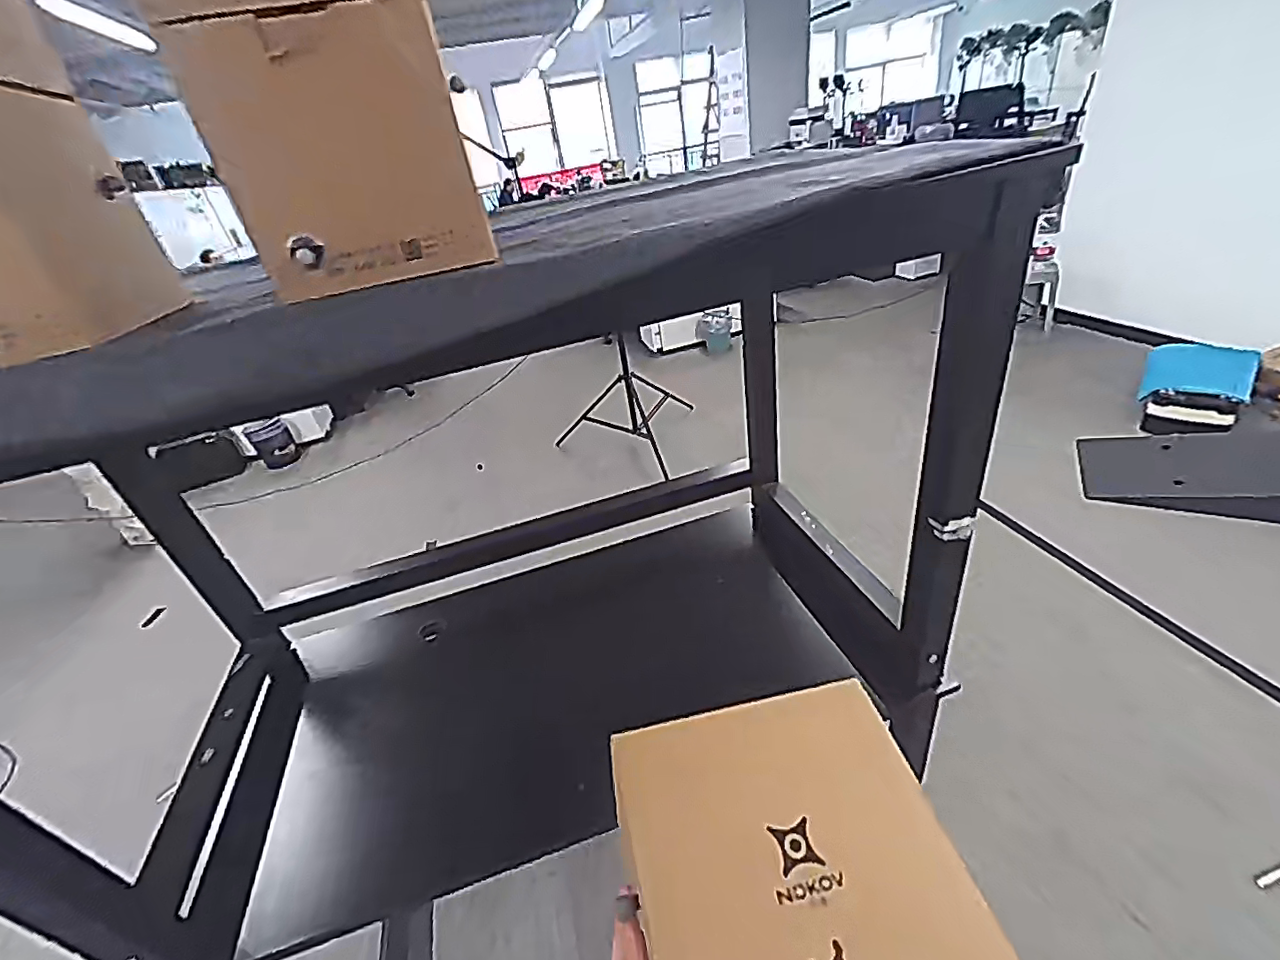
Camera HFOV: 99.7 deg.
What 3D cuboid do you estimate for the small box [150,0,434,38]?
[{"bbox_3d":[-0.252,-0.399,0.366,0.168,0.176,0.179,-17,32,-8],"label":"small box"}]

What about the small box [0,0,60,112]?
[{"bbox_3d":[-0.523,-0.315,0.314,0.168,0.176,0.179,-16,31,-9],"label":"small box"}]

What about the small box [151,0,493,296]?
[{"bbox_3d":[-0.226,-0.260,0.447,0.168,0.176,0.179,-16,30,-9],"label":"small box"}]
